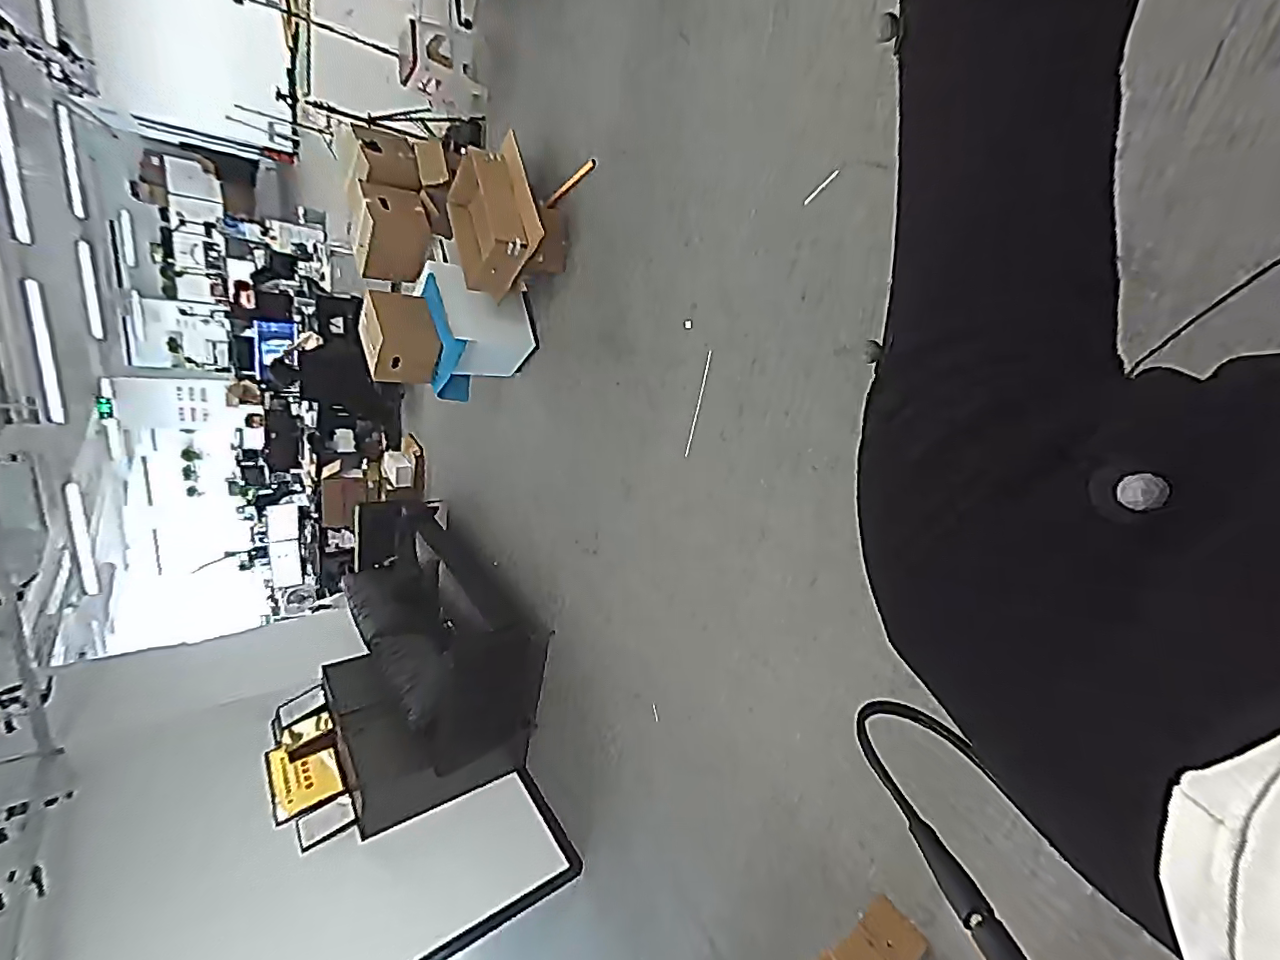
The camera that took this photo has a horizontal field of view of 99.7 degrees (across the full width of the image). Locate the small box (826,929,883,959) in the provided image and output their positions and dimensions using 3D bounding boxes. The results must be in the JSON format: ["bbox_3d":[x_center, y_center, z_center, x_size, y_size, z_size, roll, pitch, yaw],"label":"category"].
[{"bbox_3d":[0.649,1.525,1.638,0.168,0.176,0.179,37,122,43],"label":"small box"}]

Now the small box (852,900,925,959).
[{"bbox_3d":[0.777,1.519,1.740,0.179,0.176,0.168,35,120,44],"label":"small box"}]
